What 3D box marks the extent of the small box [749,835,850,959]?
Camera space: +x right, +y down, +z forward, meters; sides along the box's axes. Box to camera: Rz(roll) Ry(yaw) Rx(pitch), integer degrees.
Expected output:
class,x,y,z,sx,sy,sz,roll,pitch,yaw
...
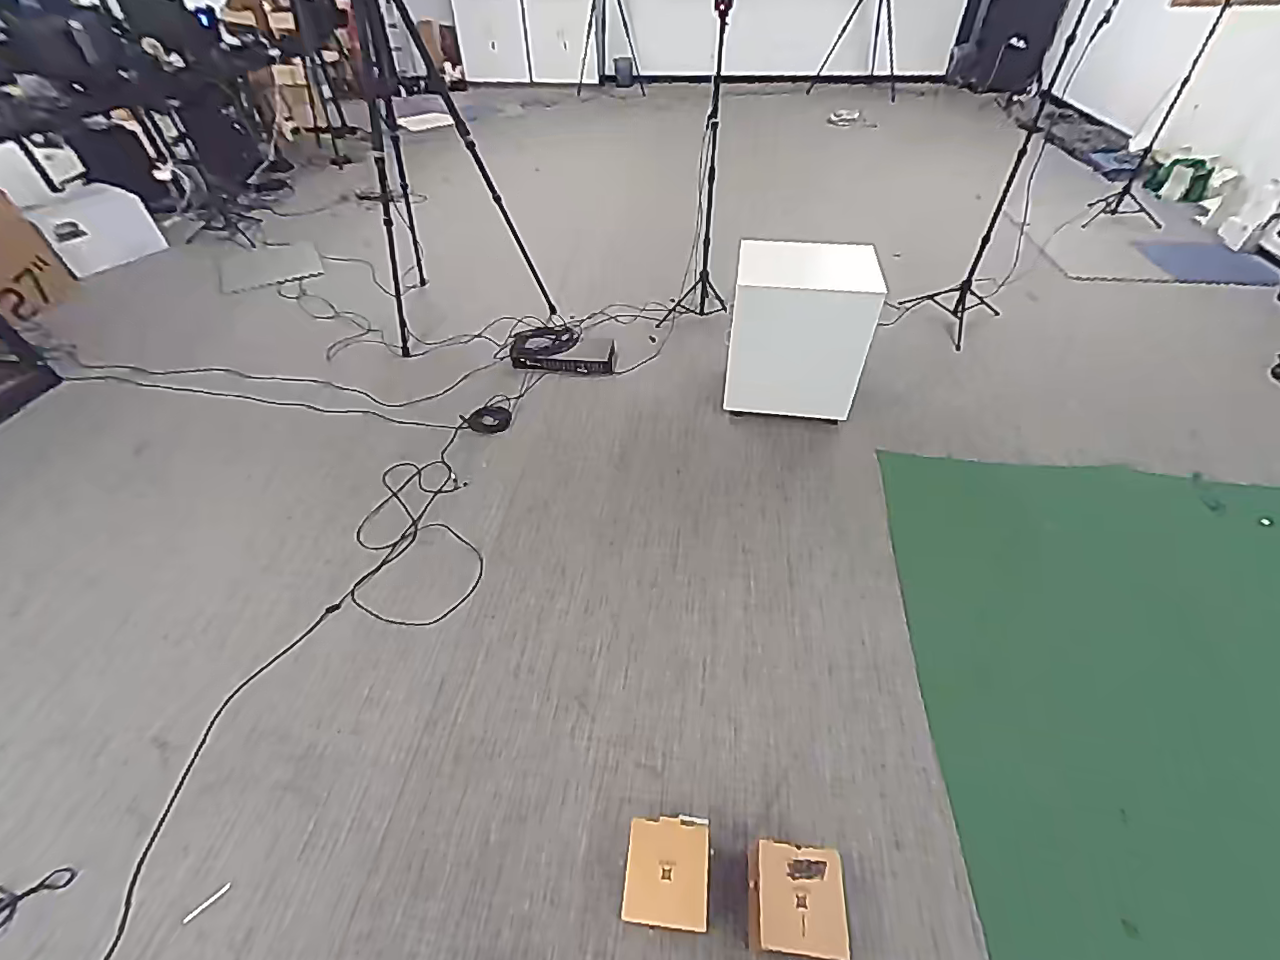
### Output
class,x,y,z,sx,sy,sz,roll,pitch,yaw
small box,0.317,0.860,1.112,0.168,0.176,0.179,5,47,5

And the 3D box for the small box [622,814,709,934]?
class,x,y,z,sx,sy,sz,roll,pitch,yaw
small box,0.057,0.834,1.142,0.168,0.176,0.179,4,46,5
